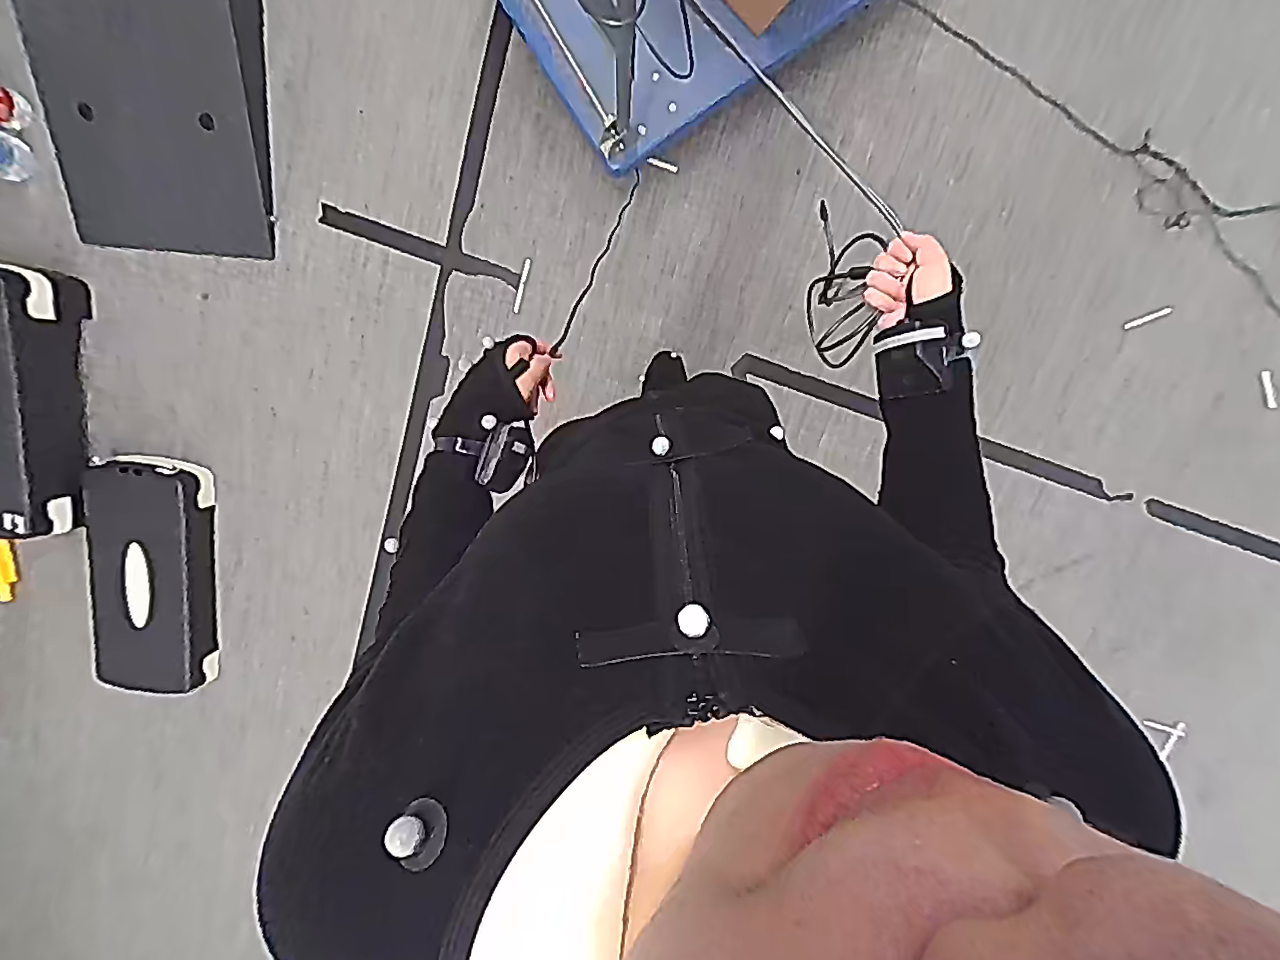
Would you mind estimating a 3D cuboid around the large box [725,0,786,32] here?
[{"bbox_3d":[0.199,-1.136,0.935,0.408,0.320,0.320,42,99,-8],"label":"large box"}]
